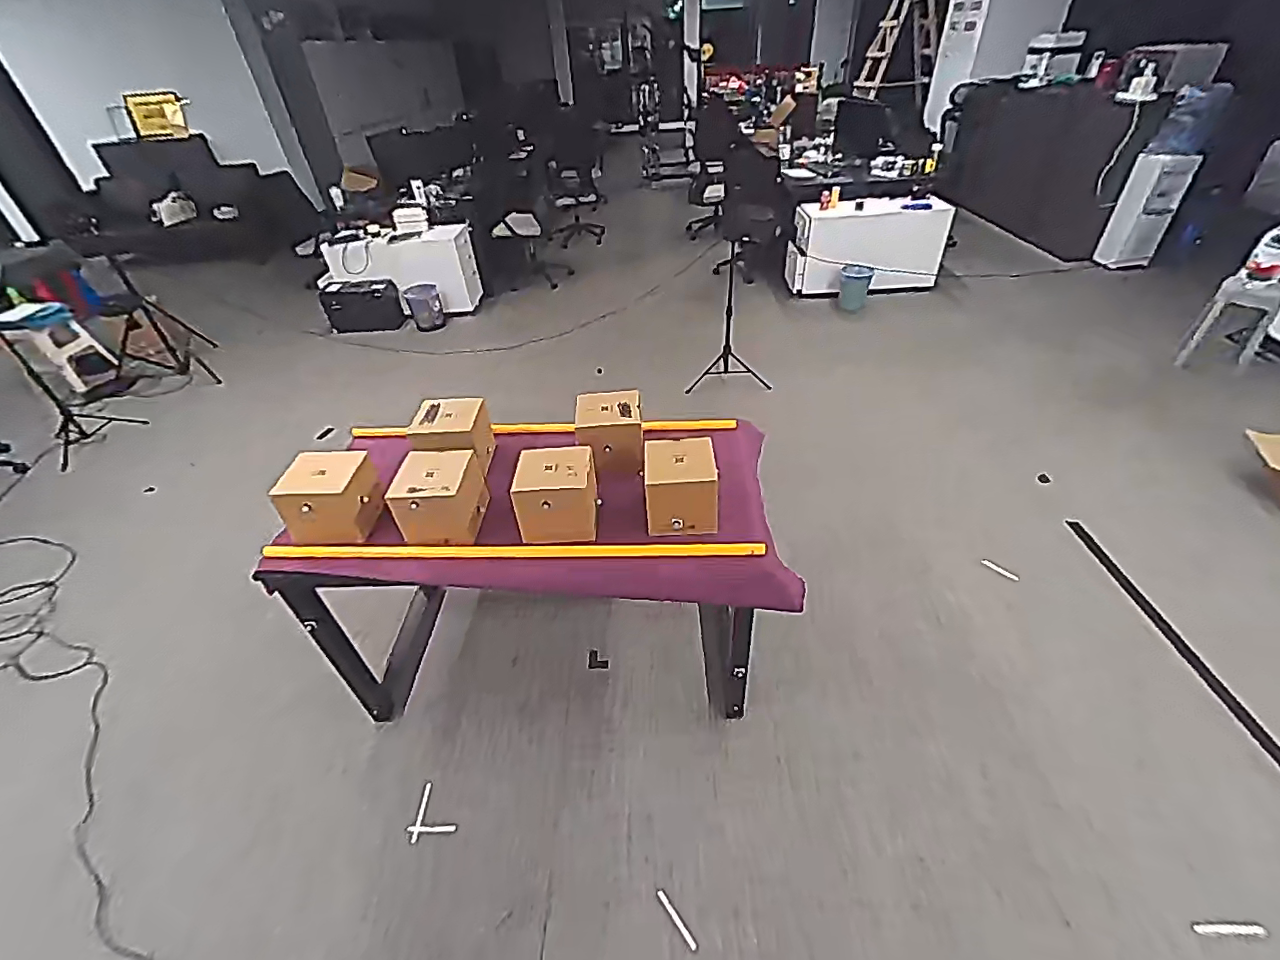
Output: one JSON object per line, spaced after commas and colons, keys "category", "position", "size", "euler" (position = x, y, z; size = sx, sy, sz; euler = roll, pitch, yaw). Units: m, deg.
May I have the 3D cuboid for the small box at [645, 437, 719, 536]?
{"category": "small box", "position": [0.100, 0.016, 1.307], "size": [0.168, 0.176, 0.179], "euler": [-4, 37, 3]}

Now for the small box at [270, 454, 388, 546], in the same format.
{"category": "small box", "position": [-0.762, 0.051, 1.351], "size": [0.179, 0.176, 0.168], "euler": [-2, 39, 2]}

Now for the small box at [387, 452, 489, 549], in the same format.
{"category": "small box", "position": [-0.483, 0.050, 1.327], "size": [0.168, 0.176, 0.179], "euler": [-3, 39, 3]}

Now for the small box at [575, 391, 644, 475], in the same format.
{"category": "small box", "position": [-0.078, -0.127, 1.503], "size": [0.179, 0.176, 0.168], "euler": [-5, 40, 2]}

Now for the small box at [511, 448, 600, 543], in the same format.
{"category": "small box", "position": [-0.198, 0.040, 1.309], "size": [0.179, 0.176, 0.168], "euler": [-3, 38, 1]}
